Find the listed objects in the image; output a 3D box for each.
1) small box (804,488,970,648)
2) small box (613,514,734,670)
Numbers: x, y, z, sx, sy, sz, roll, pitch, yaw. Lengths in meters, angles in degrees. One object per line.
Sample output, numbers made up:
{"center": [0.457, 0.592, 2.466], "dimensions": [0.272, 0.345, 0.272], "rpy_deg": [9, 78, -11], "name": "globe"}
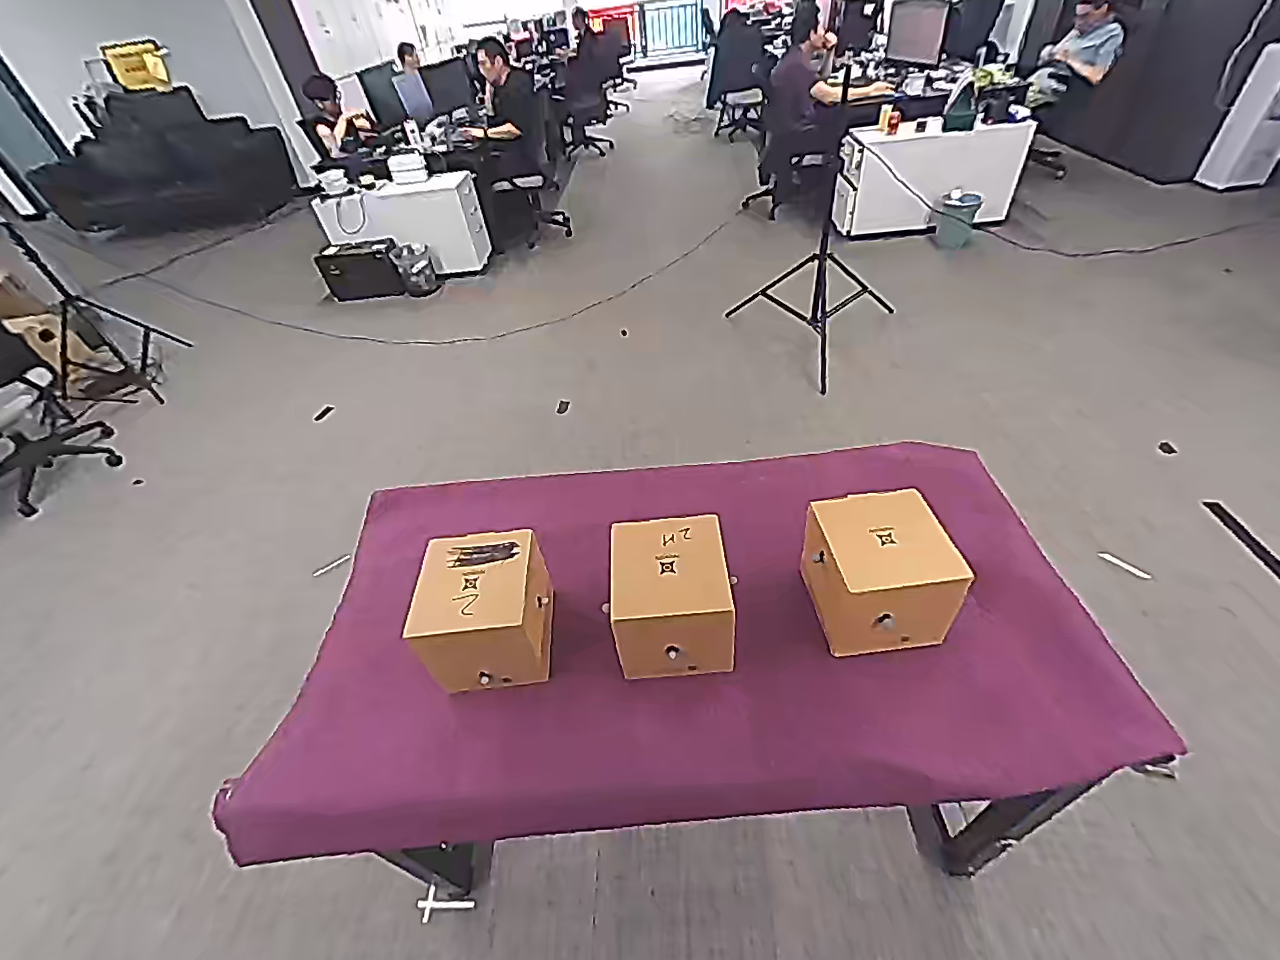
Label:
{"center": [0.359, 0.139, 0.824], "dimensions": [0.168, 0.176, 0.179], "rpy_deg": [-8, 41, 1], "name": "small box"}
{"center": [0.051, 0.177, 0.830], "dimensions": [0.168, 0.176, 0.179], "rpy_deg": [-5, 43, 2], "name": "small box"}
